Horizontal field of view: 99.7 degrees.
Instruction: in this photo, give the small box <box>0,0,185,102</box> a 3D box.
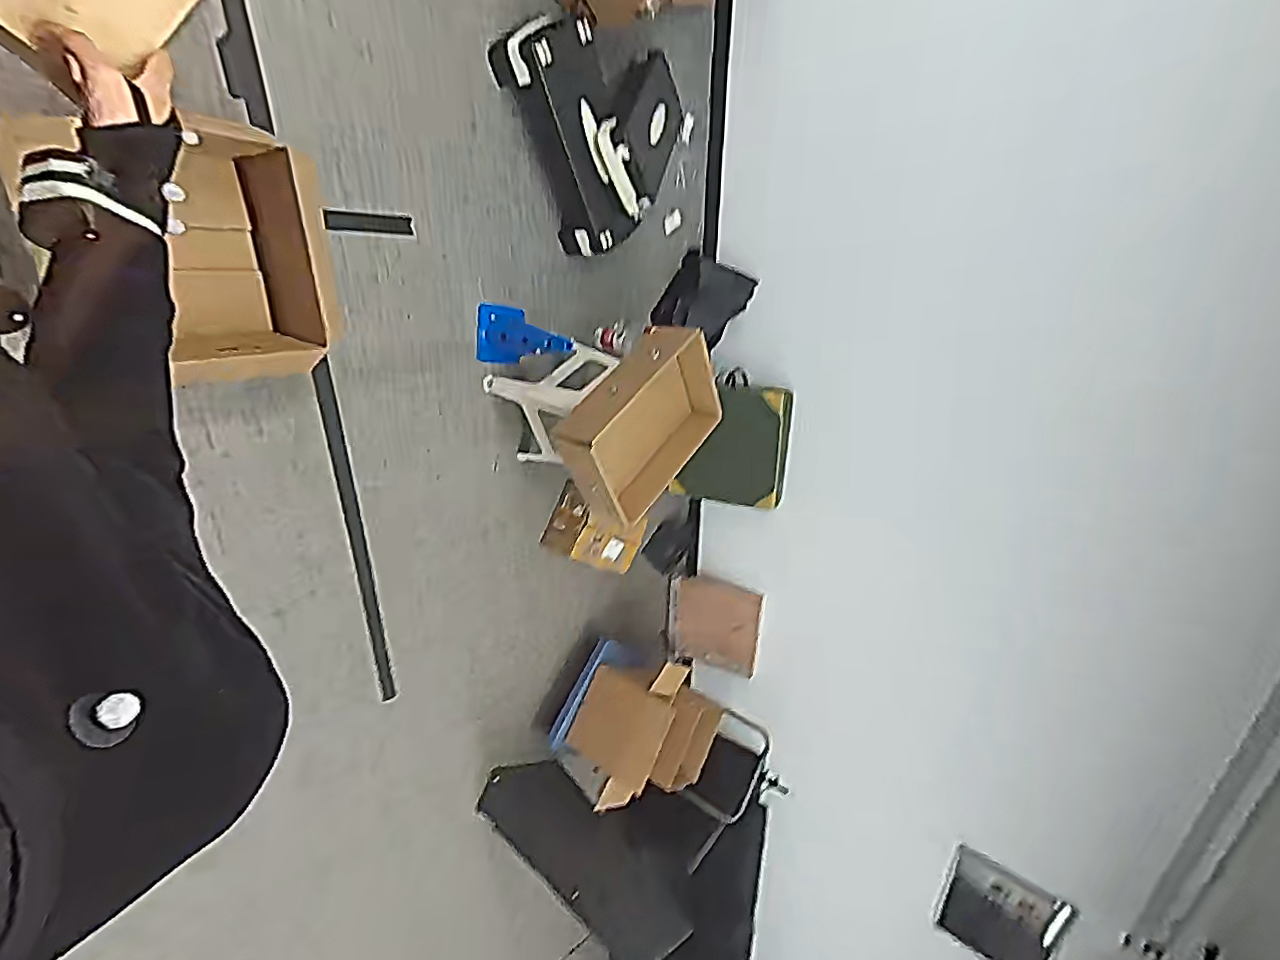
[{"bbox_3d":[-0.516,-0.462,0.444,0.179,0.176,0.168,-58,153,-5],"label":"small box"}]
